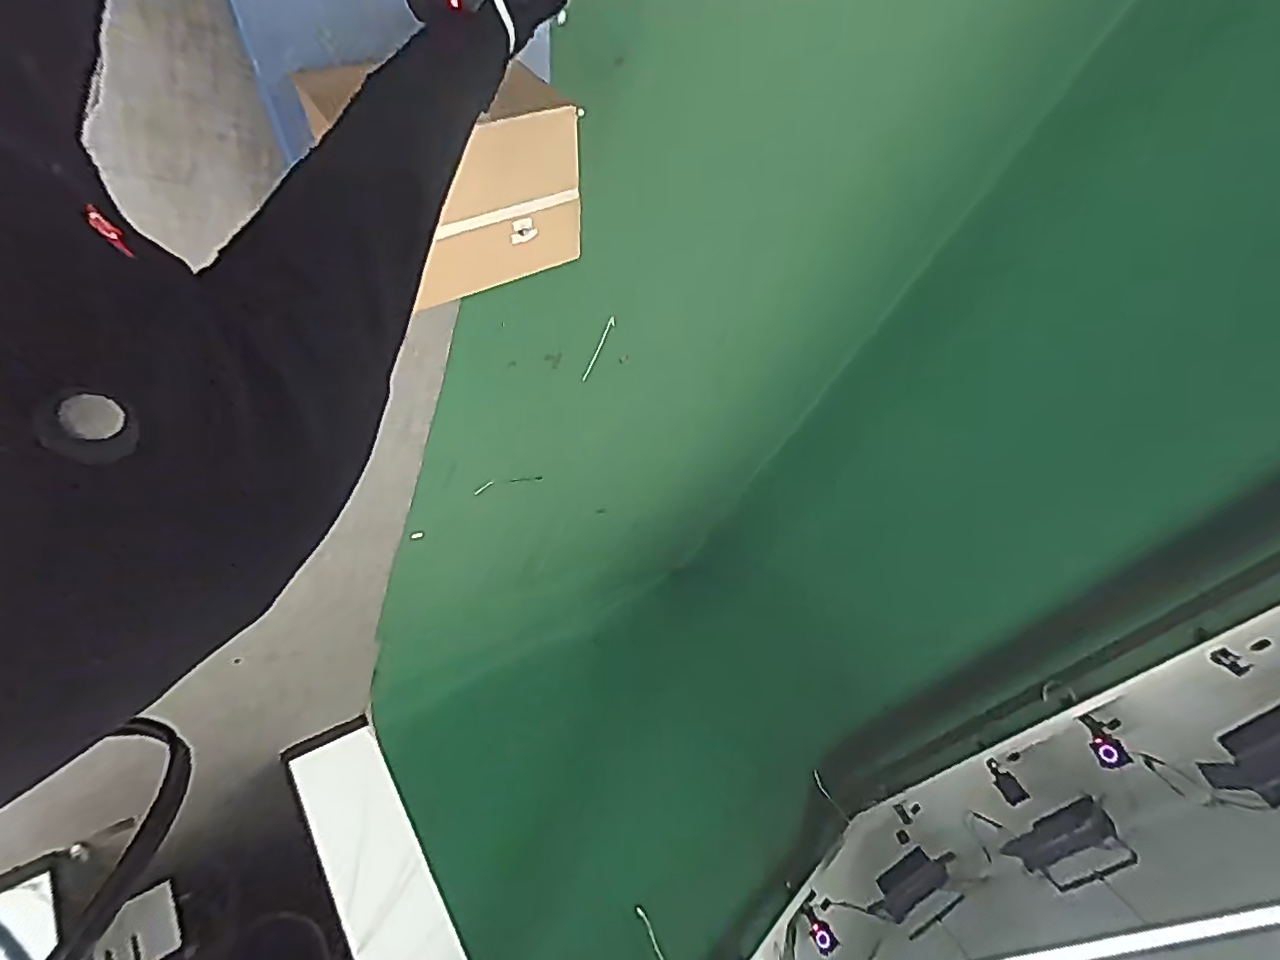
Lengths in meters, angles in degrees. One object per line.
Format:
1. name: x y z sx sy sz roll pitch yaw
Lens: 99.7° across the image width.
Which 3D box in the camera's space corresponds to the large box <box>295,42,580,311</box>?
1. large box: -0.375 -0.614 1.086 0.408 0.320 0.320 -30 154 -22
